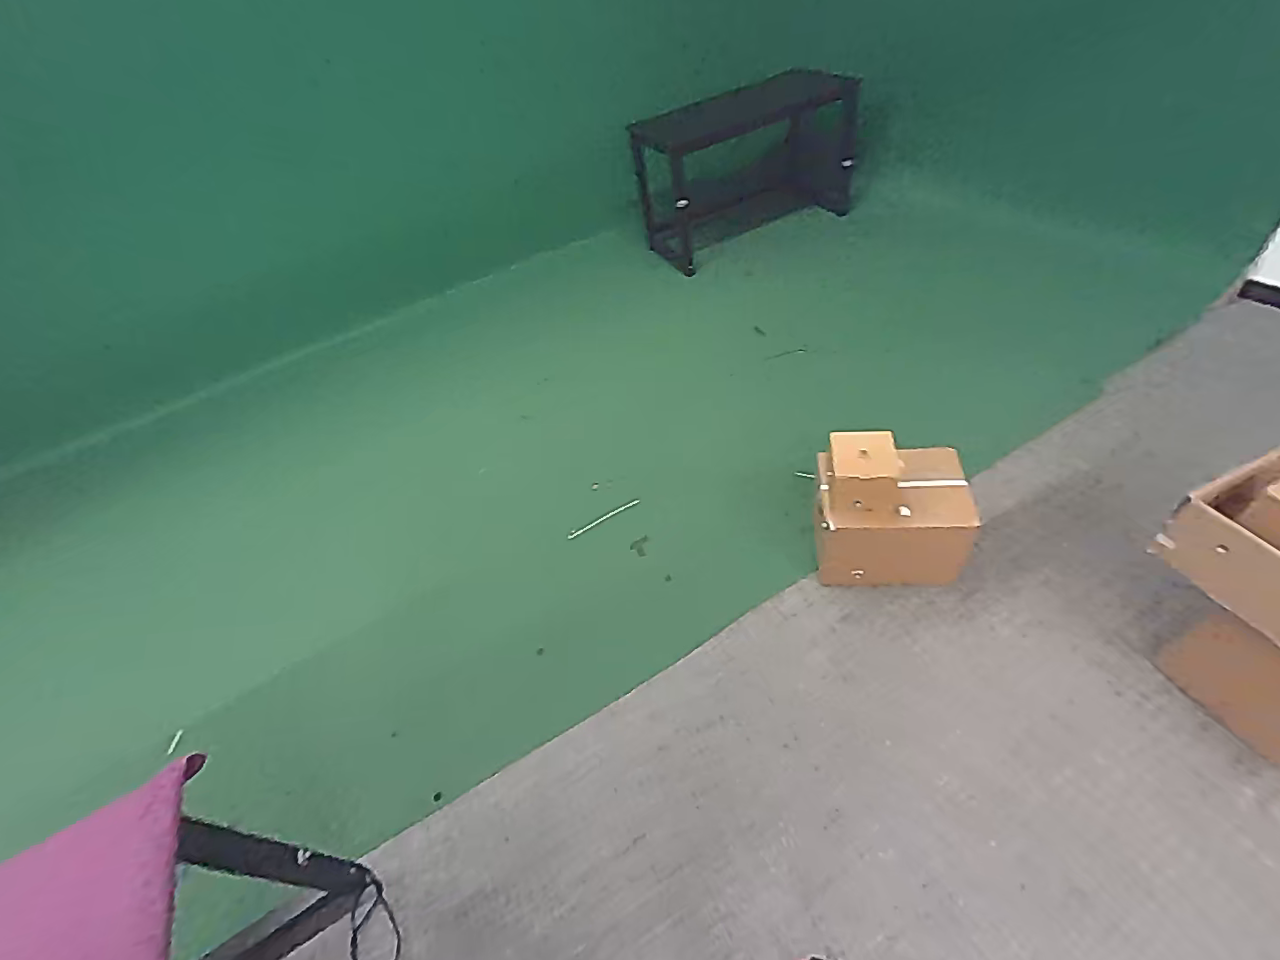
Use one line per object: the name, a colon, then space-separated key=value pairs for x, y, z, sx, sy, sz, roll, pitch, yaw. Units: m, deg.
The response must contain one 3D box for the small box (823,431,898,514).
small box: x=0.624 y=-0.022 z=1.553 sx=0.168 sy=0.176 sz=0.179 roll=0 pitch=50 yaw=11
